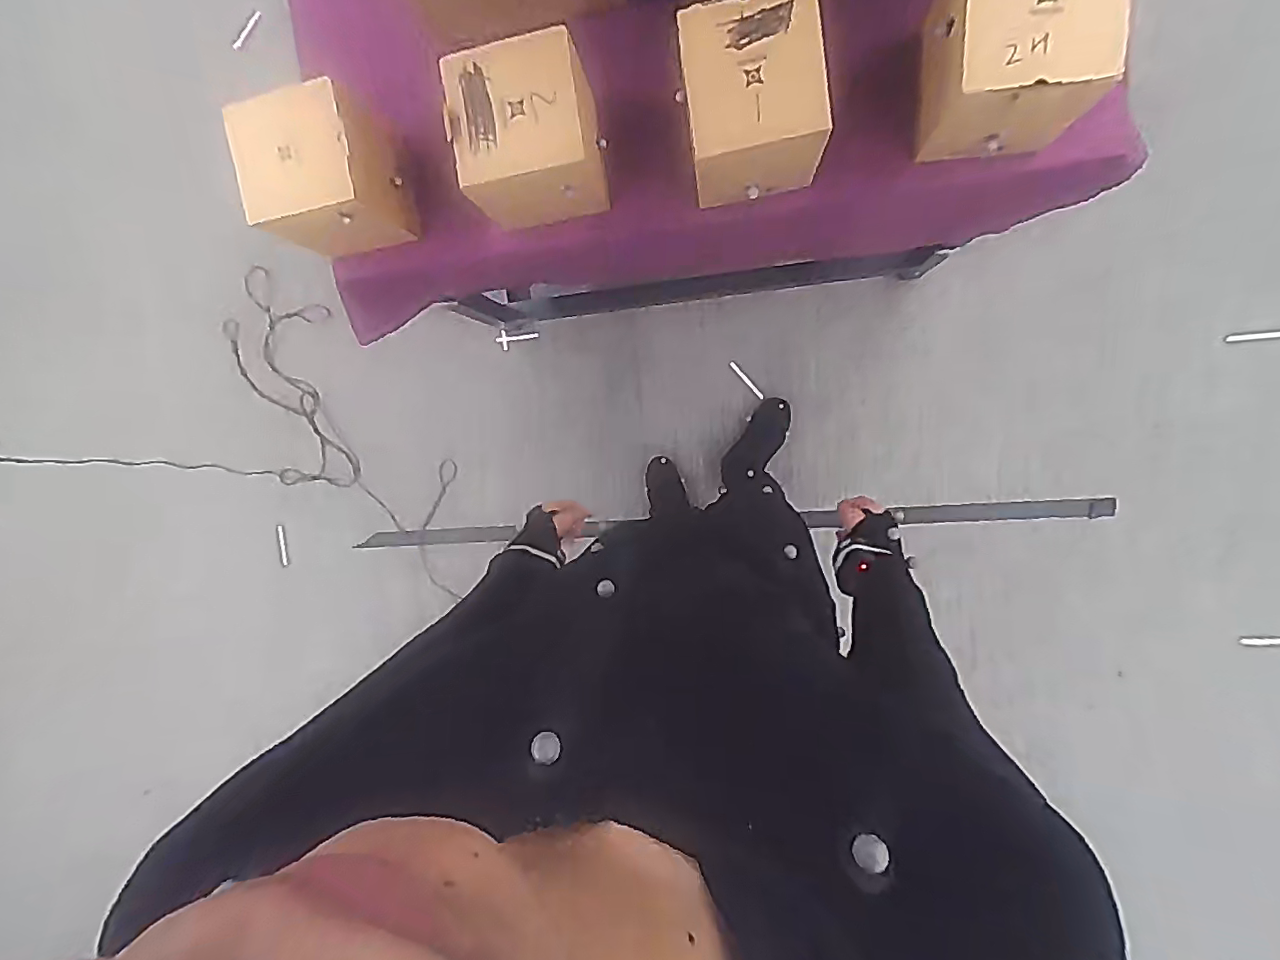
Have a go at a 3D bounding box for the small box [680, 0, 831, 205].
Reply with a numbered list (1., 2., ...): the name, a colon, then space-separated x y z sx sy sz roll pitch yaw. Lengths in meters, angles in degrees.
1. small box: 0.149 -0.501 0.723 0.168 0.176 0.179 -7 96 10

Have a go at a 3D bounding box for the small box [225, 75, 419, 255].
1. small box: -0.470 -0.461 0.823 0.179 0.176 0.168 -9 95 8
